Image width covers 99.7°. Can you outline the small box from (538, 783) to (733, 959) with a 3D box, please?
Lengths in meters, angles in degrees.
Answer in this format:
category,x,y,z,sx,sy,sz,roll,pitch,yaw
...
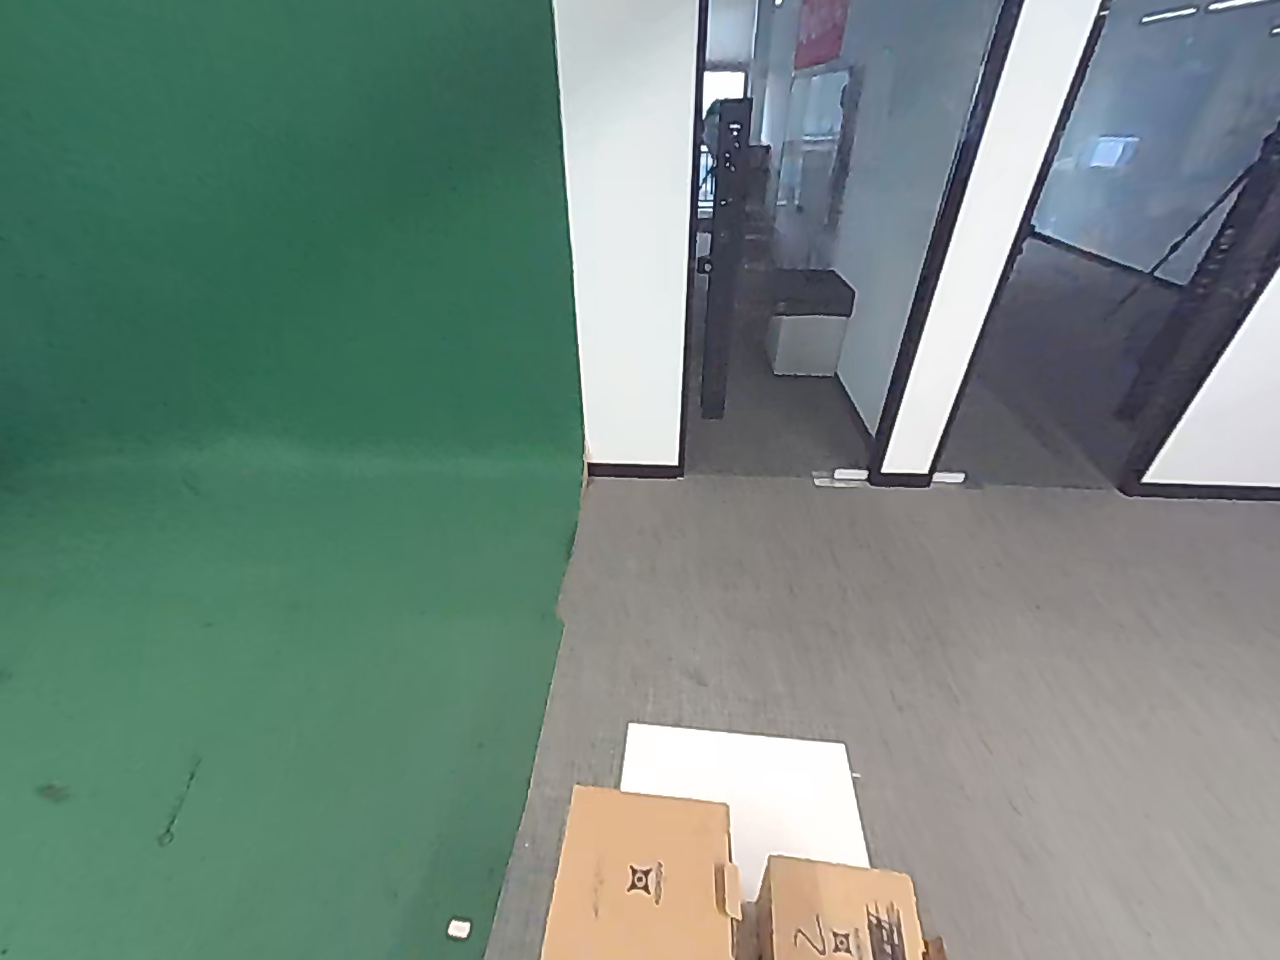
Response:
category,x,y,z,sx,sy,sz,roll,pitch,yaw
small box,0.001,0.458,0.578,0.179,0.176,0.168,3,34,5
